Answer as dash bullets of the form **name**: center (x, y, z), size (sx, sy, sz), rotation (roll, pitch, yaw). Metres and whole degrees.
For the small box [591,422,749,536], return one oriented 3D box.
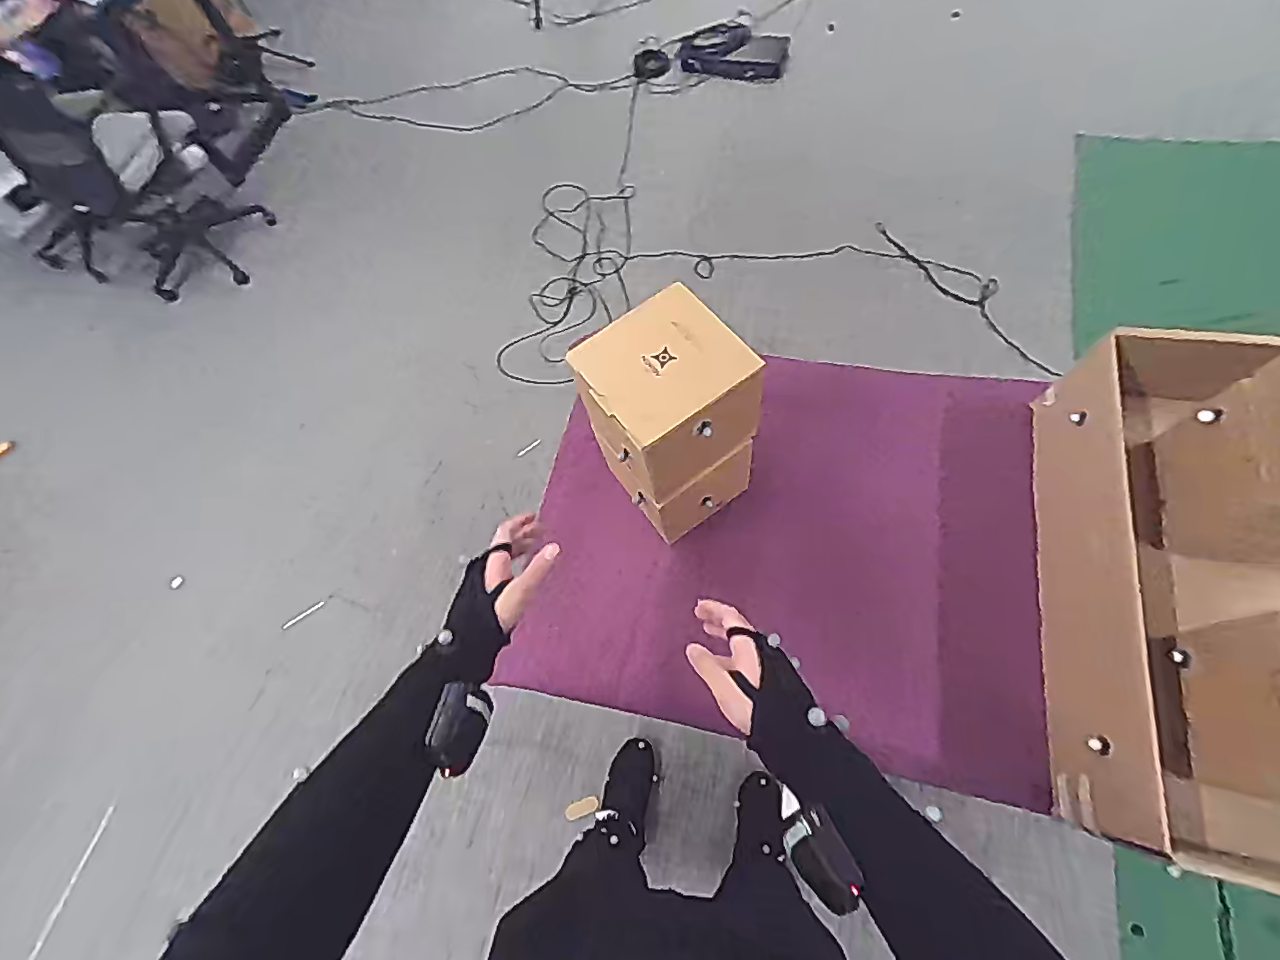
- **small box**: center (0.050, -0.031, 0.845), size (0.168, 0.176, 0.179), rotation (-35, 66, -9)

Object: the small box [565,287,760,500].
- **small box**: center (0.034, -0.101, 0.699), size (0.179, 0.176, 0.168), rotation (-35, 67, -8)
